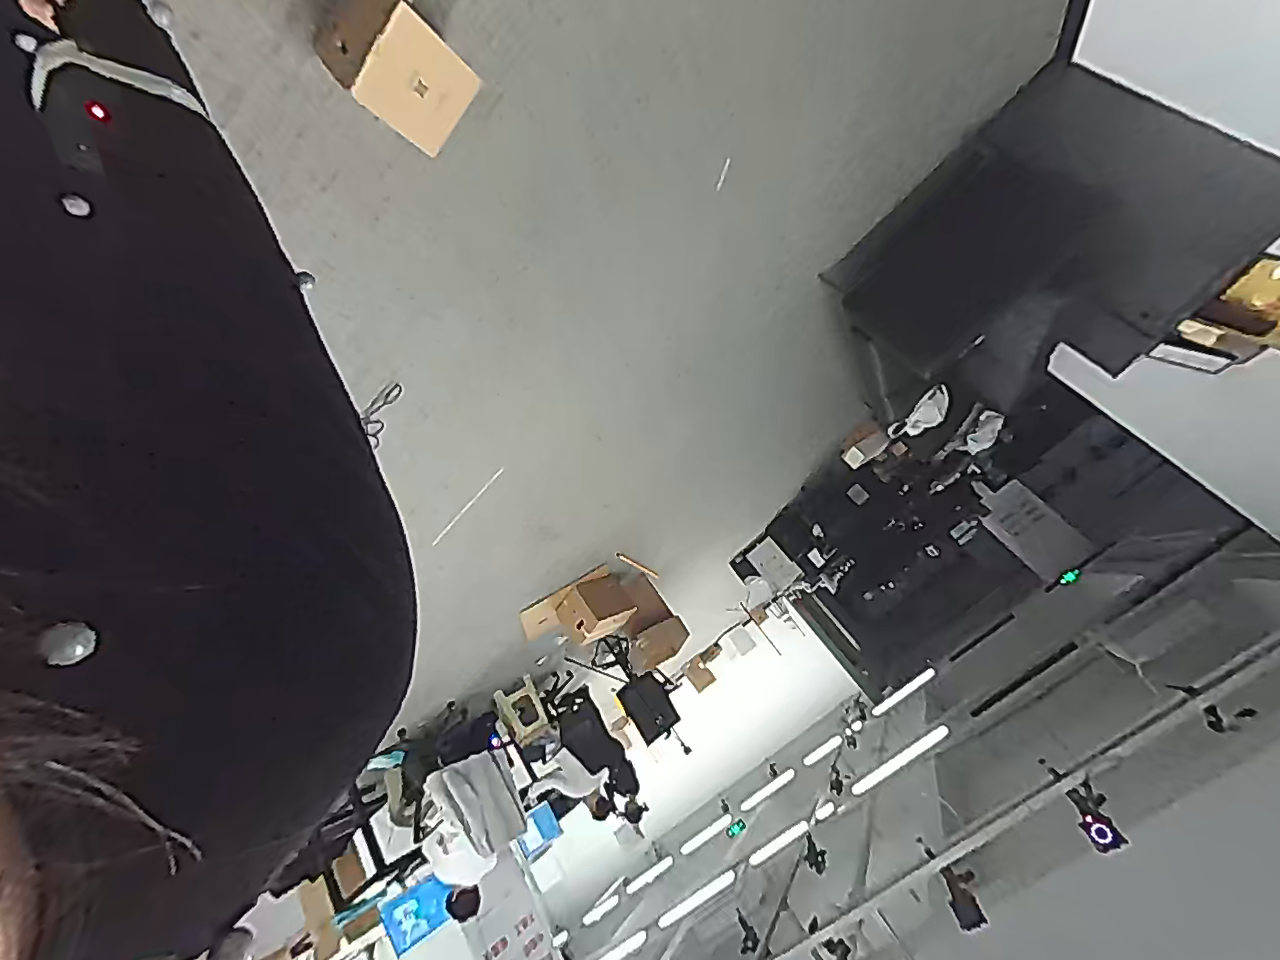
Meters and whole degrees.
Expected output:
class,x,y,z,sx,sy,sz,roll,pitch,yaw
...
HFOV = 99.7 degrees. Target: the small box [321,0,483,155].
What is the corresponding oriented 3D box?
class,x,y,z,sx,sy,sz,roll,pitch,yaw
small box,-0.422,-0.731,0.953,0.168,0.176,0.179,-45,156,17
